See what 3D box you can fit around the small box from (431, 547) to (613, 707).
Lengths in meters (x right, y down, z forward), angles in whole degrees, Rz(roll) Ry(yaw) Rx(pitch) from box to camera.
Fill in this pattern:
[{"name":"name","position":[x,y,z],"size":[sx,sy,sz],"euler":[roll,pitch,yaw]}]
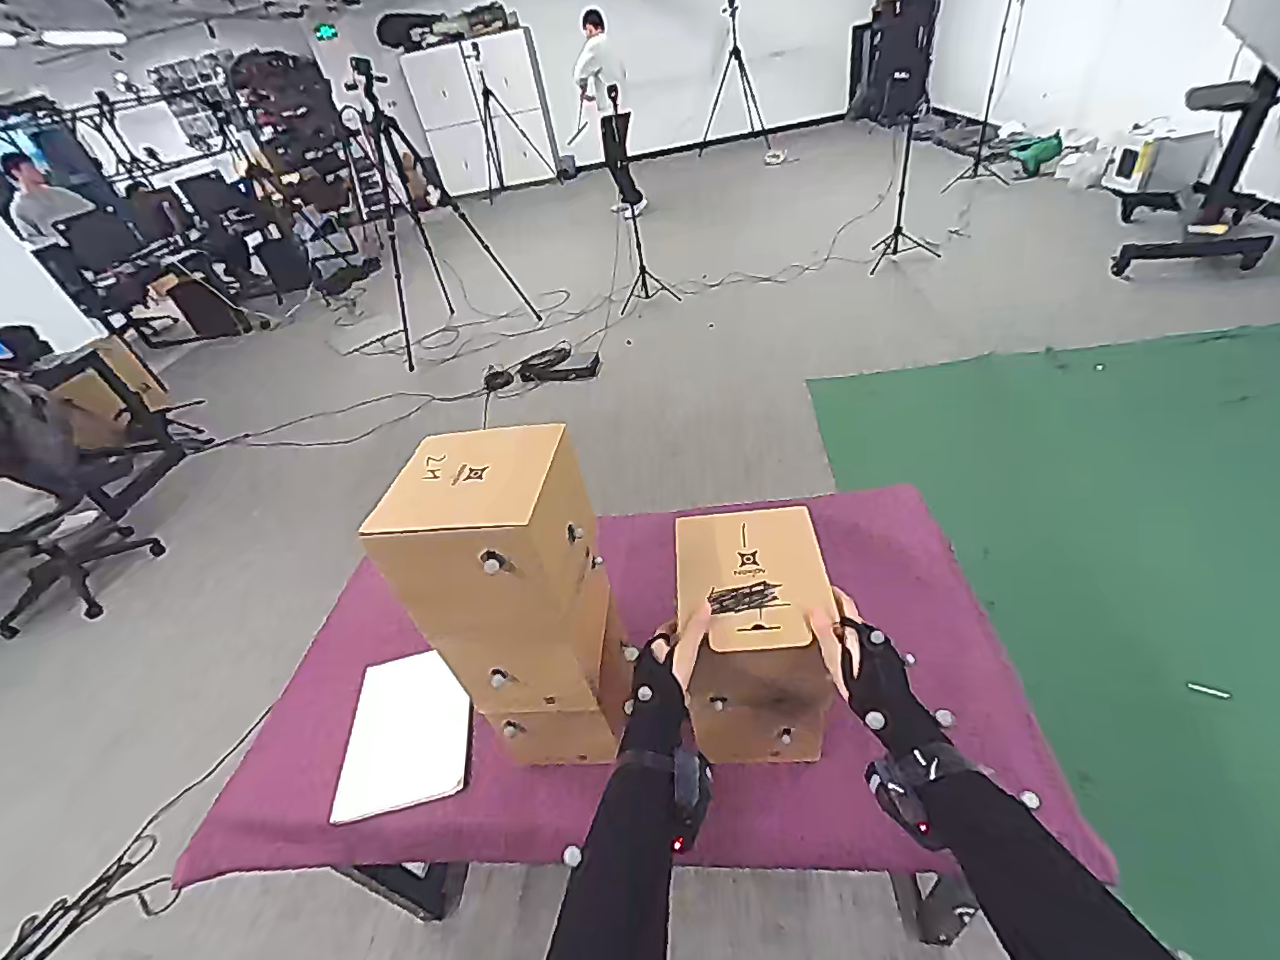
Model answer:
[{"name":"small box","position":[-0.137,0.180,0.709],"size":[0.168,0.176,0.179],"euler":[-5,38,9]}]

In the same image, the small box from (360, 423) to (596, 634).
[{"name":"small box","position":[-0.158,0.056,0.602],"size":[0.179,0.176,0.168],"euler":[-4,38,11]}]

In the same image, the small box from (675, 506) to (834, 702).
[{"name":"small box","position":[0.135,0.157,0.665],"size":[0.168,0.176,0.179],"euler":[-6,39,8]}]

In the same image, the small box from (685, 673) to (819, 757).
[{"name":"small box","position":[0.157,0.277,0.773],"size":[0.168,0.176,0.179],"euler":[-5,39,9]}]
